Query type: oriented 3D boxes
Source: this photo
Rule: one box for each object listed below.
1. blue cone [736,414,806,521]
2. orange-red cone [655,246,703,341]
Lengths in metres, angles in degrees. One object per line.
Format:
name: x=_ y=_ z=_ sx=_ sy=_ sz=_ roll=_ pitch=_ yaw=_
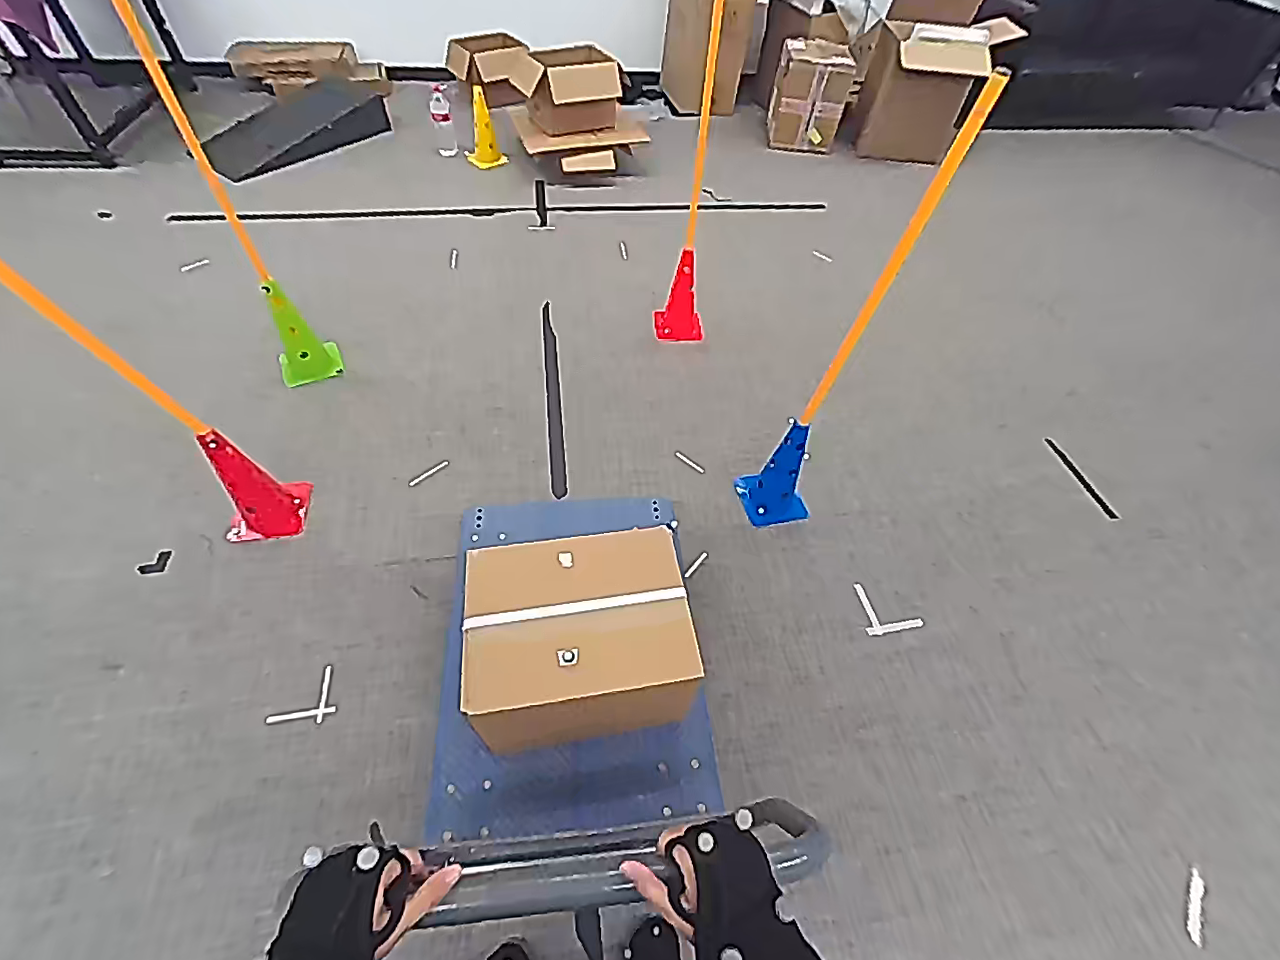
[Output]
blue cone: x=0.439 y=-0.050 z=1.654 sx=0.193 sy=0.380 sz=0.192 roll=-8 pitch=53 yaw=-11
orange-red cone: x=0.175 y=-0.760 z=2.160 sx=0.199 sy=0.360 sz=0.198 roll=1 pitch=53 yaw=-5
